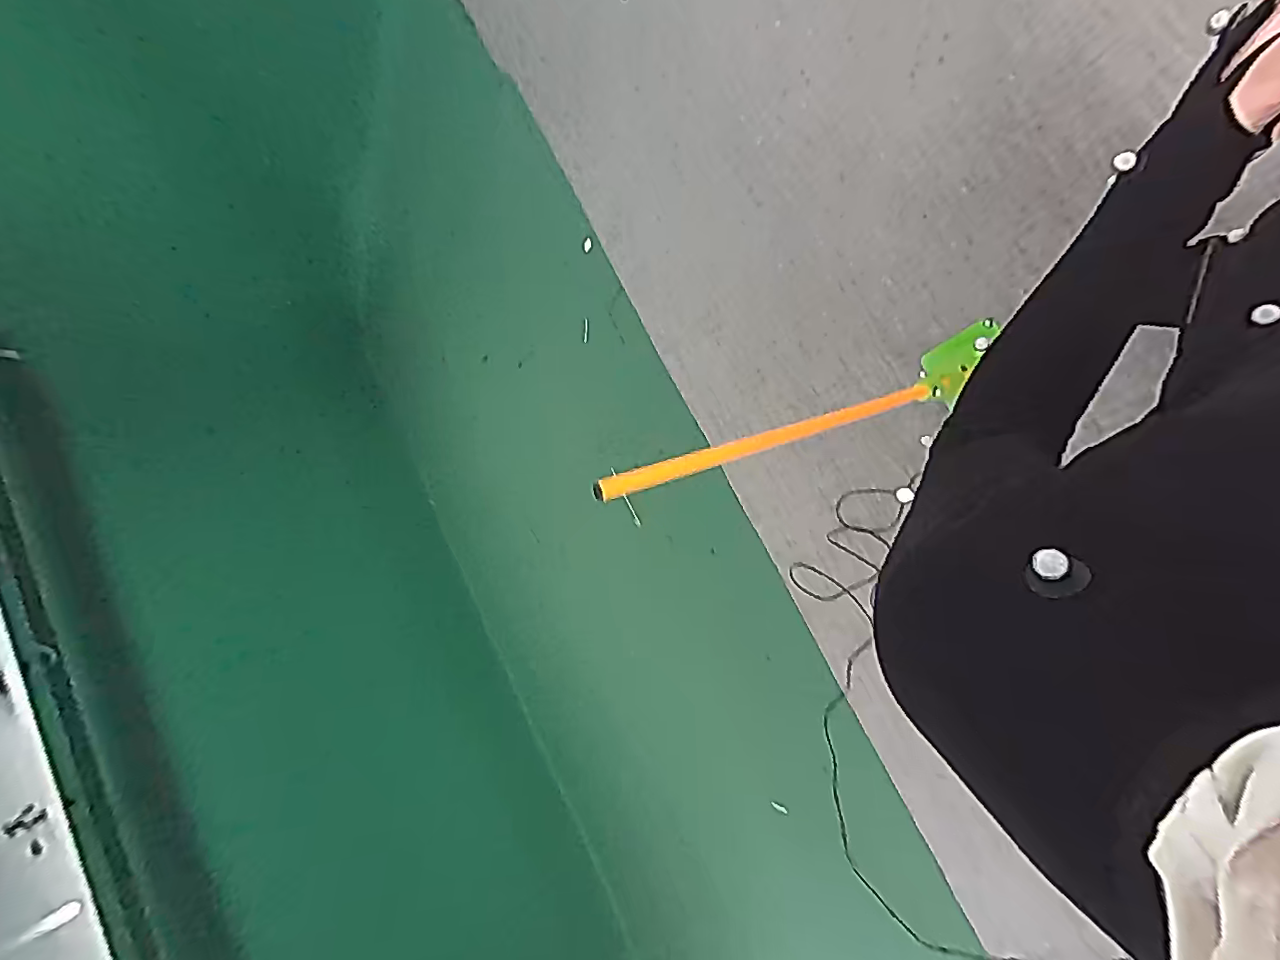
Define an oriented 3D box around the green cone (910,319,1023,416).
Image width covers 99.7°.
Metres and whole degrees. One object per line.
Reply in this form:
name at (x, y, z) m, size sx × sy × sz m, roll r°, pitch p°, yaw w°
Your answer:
green cone at (0.748, -0.246, 1.331) m, size 0.200 × 0.368 × 0.202 m, roll -37°, pitch 79°, yaw 50°
